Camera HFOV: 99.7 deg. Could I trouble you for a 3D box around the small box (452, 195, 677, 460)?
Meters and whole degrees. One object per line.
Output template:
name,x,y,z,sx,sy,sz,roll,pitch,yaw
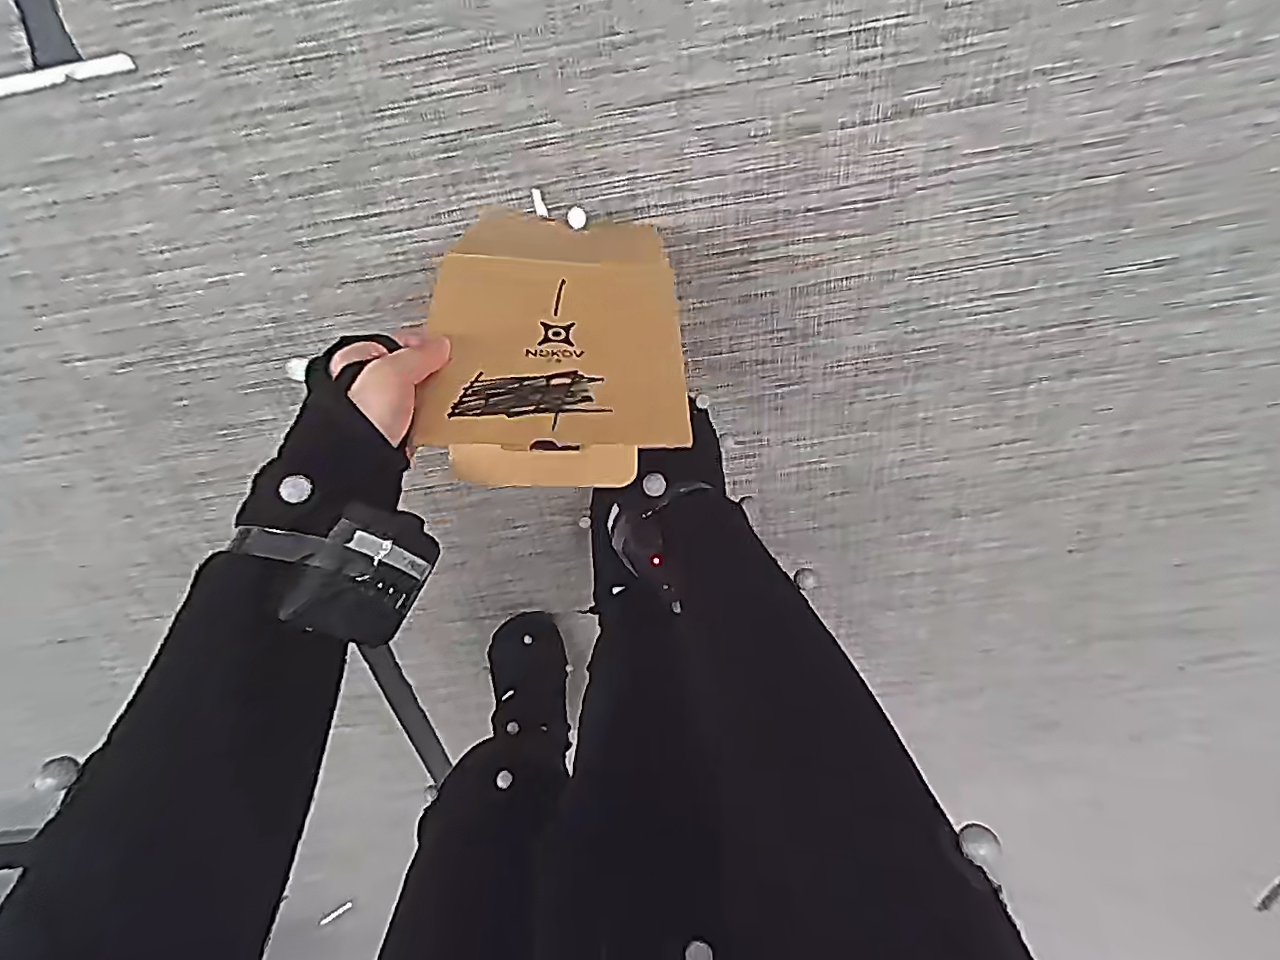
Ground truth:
small box,-0.068,-0.142,0.500,0.168,0.176,0.179,5,126,-8
